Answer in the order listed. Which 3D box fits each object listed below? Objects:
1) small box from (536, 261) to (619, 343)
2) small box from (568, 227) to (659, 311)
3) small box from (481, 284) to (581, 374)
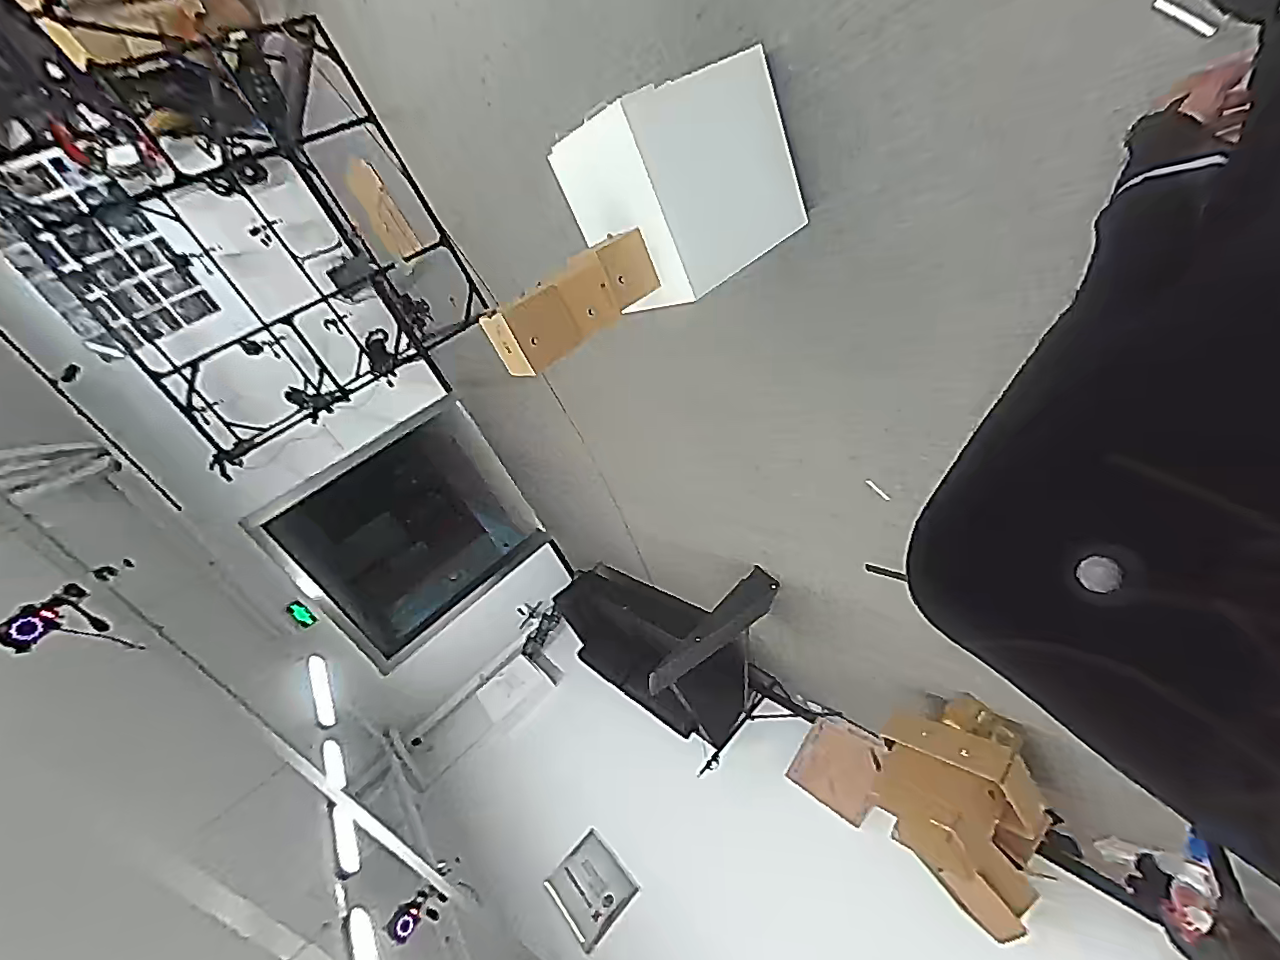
[{"bbox_3d":[-0.179,-0.500,1.524,0.179,0.176,0.168,18,141,51],"label":"small box"},{"bbox_3d":[-0.072,-0.609,1.581,0.168,0.176,0.179,16,138,52],"label":"small box"},{"bbox_3d":[-0.287,-0.401,1.447,0.168,0.176,0.179,14,138,53],"label":"small box"}]
